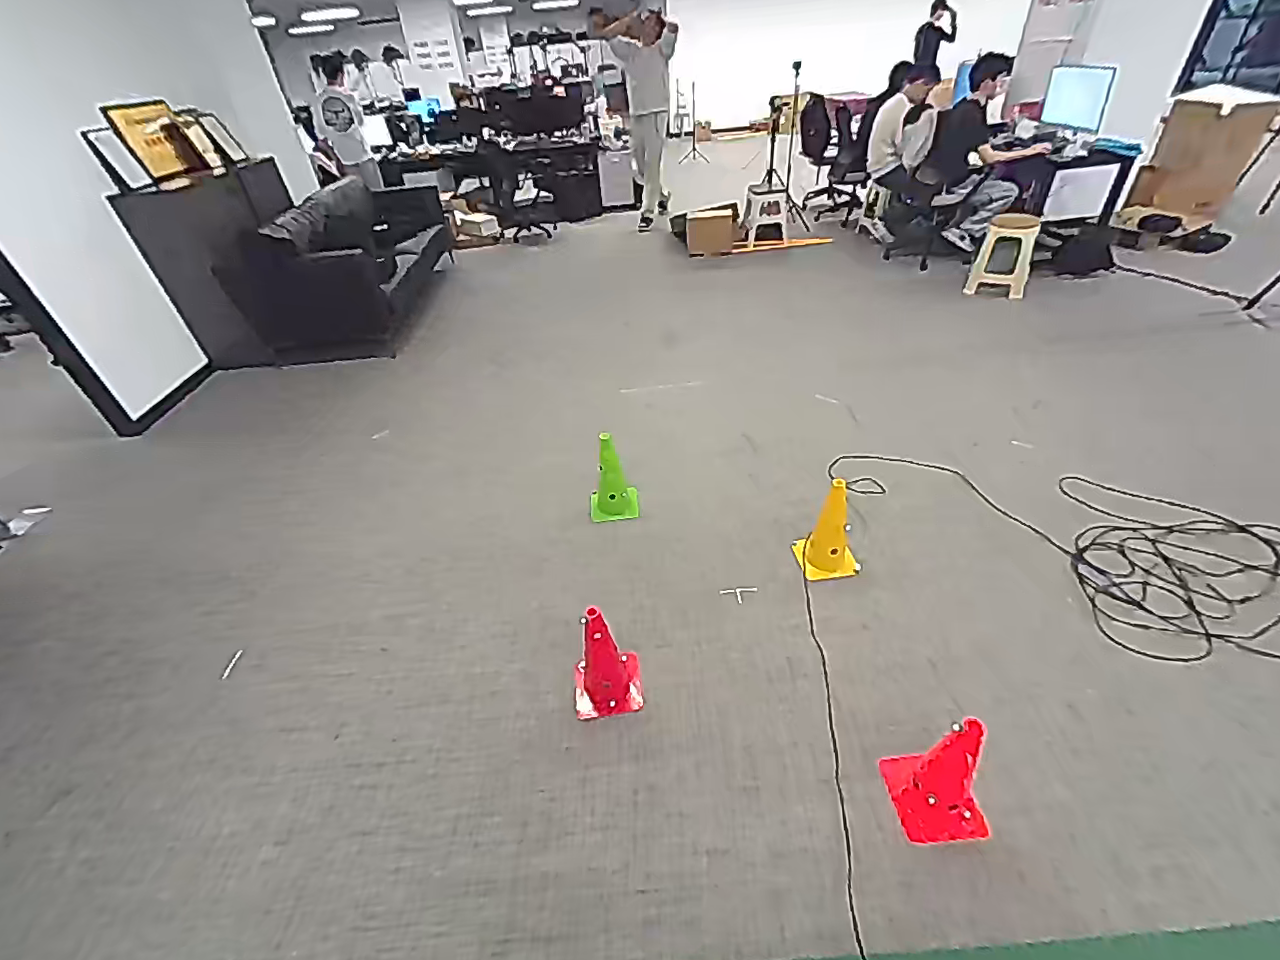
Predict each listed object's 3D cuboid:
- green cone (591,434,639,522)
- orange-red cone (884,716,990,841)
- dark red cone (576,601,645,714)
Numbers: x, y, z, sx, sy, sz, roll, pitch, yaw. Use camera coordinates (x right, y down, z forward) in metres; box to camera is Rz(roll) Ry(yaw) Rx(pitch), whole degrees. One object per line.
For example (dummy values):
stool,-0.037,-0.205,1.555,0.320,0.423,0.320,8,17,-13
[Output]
green cone,-0.121,-0.026,2.217,0.202,0.368,0.200,-6,39,-2
orange-red cone,0.719,0.649,1.241,0.198,0.360,0.199,-5,37,0
dark red cone,-0.106,0.479,1.537,0.202,0.394,0.201,-9,39,-4
